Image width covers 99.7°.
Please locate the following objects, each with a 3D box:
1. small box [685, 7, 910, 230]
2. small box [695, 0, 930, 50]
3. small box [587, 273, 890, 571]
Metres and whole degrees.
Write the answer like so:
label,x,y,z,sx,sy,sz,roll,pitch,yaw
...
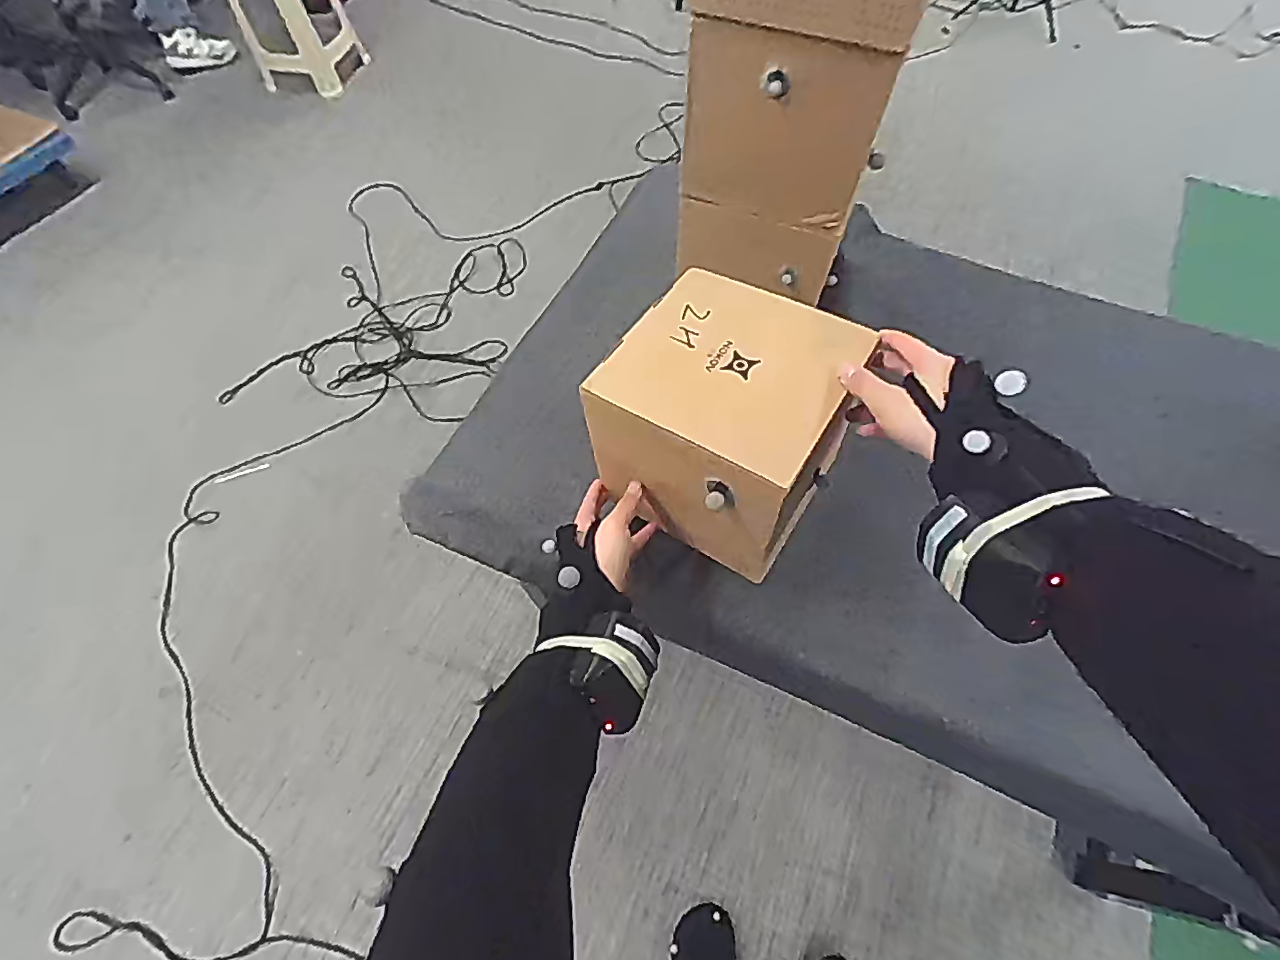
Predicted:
label,x,y,z,sx,sy,sz,roll,pitch,yaw
small box,0.150,-0.375,0.524,0.179,0.176,0.168,19,67,10
small box,0.146,-0.440,0.373,0.179,0.176,0.168,21,67,11
small box,0.081,-0.042,0.476,0.179,0.176,0.168,28,64,22
